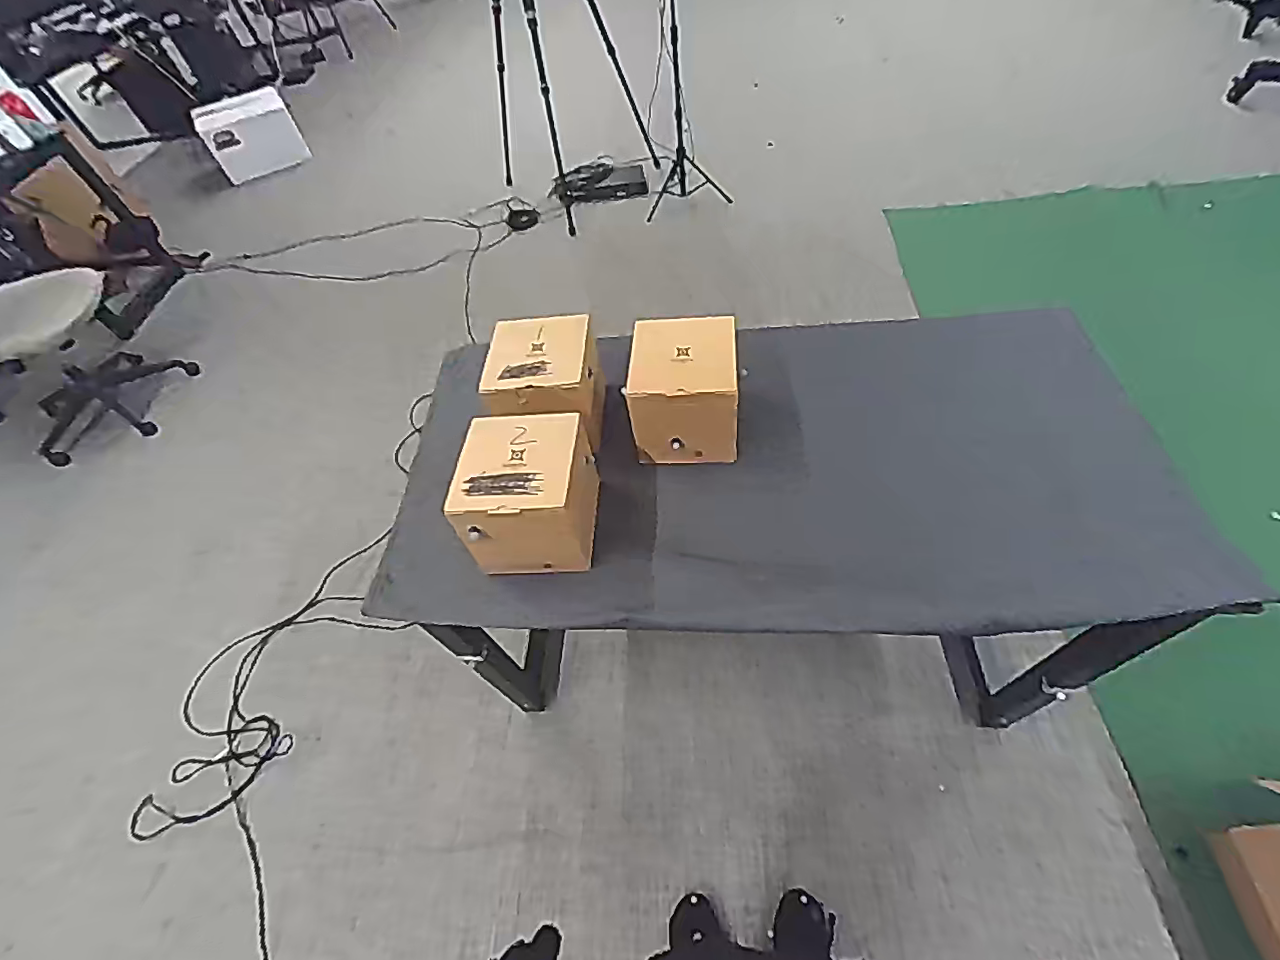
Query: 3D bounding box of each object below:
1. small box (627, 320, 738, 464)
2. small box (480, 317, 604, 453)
[{"bbox_3d":[0.076,-0.145,0.909,0.168,0.176,0.179,0,55,8],"label":"small box"},{"bbox_3d":[-0.159,-0.160,0.952,0.168,0.176,0.179,-3,53,6],"label":"small box"}]
